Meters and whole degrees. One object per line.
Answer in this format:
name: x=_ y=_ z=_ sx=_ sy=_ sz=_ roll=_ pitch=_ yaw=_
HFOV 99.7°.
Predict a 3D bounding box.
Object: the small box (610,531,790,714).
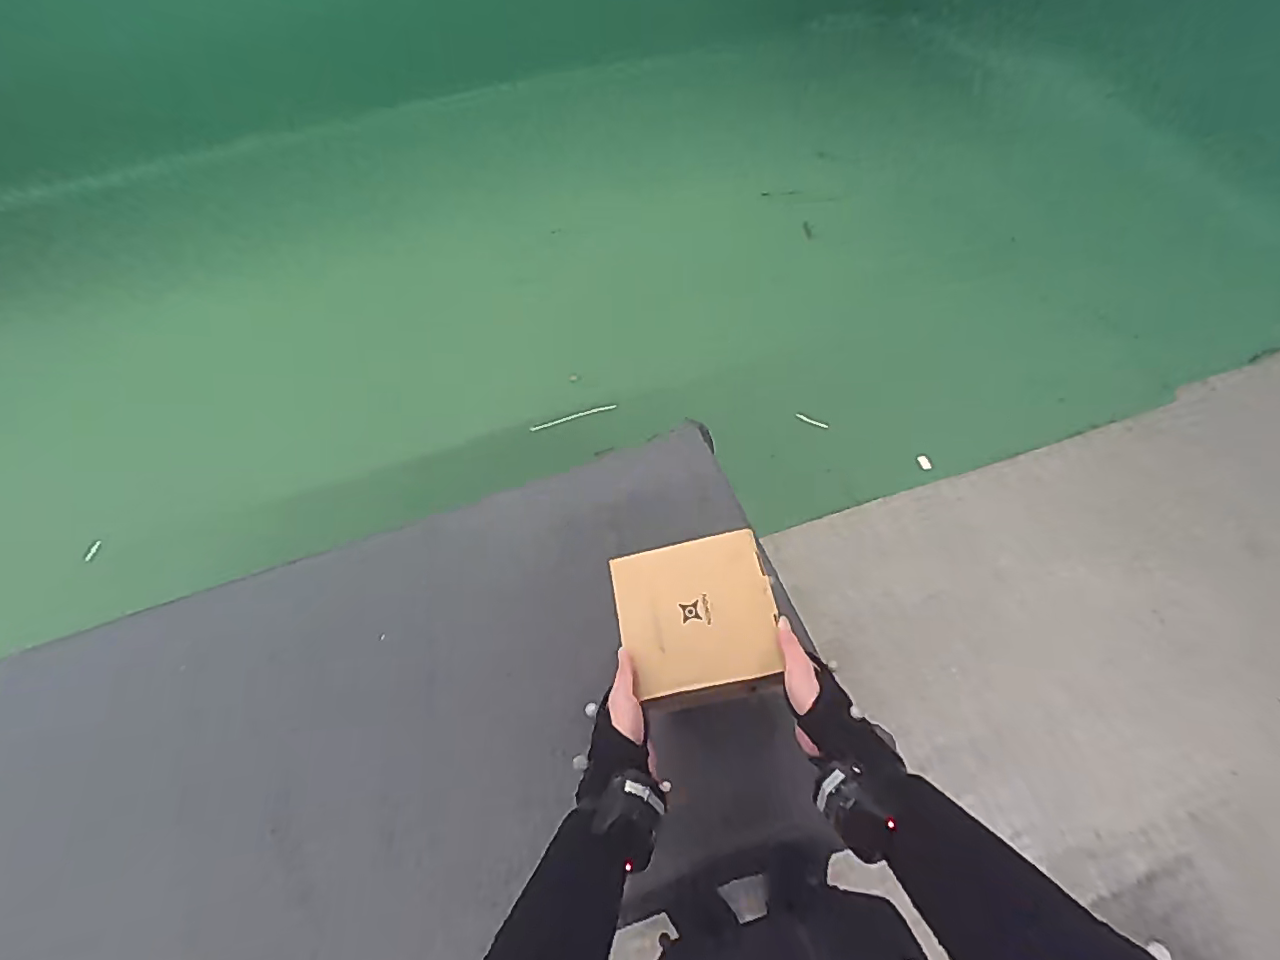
small box: x=0.075 y=0.183 z=0.668 sx=0.179 sy=0.176 sz=0.168 roll=-15 pitch=60 yaw=7
